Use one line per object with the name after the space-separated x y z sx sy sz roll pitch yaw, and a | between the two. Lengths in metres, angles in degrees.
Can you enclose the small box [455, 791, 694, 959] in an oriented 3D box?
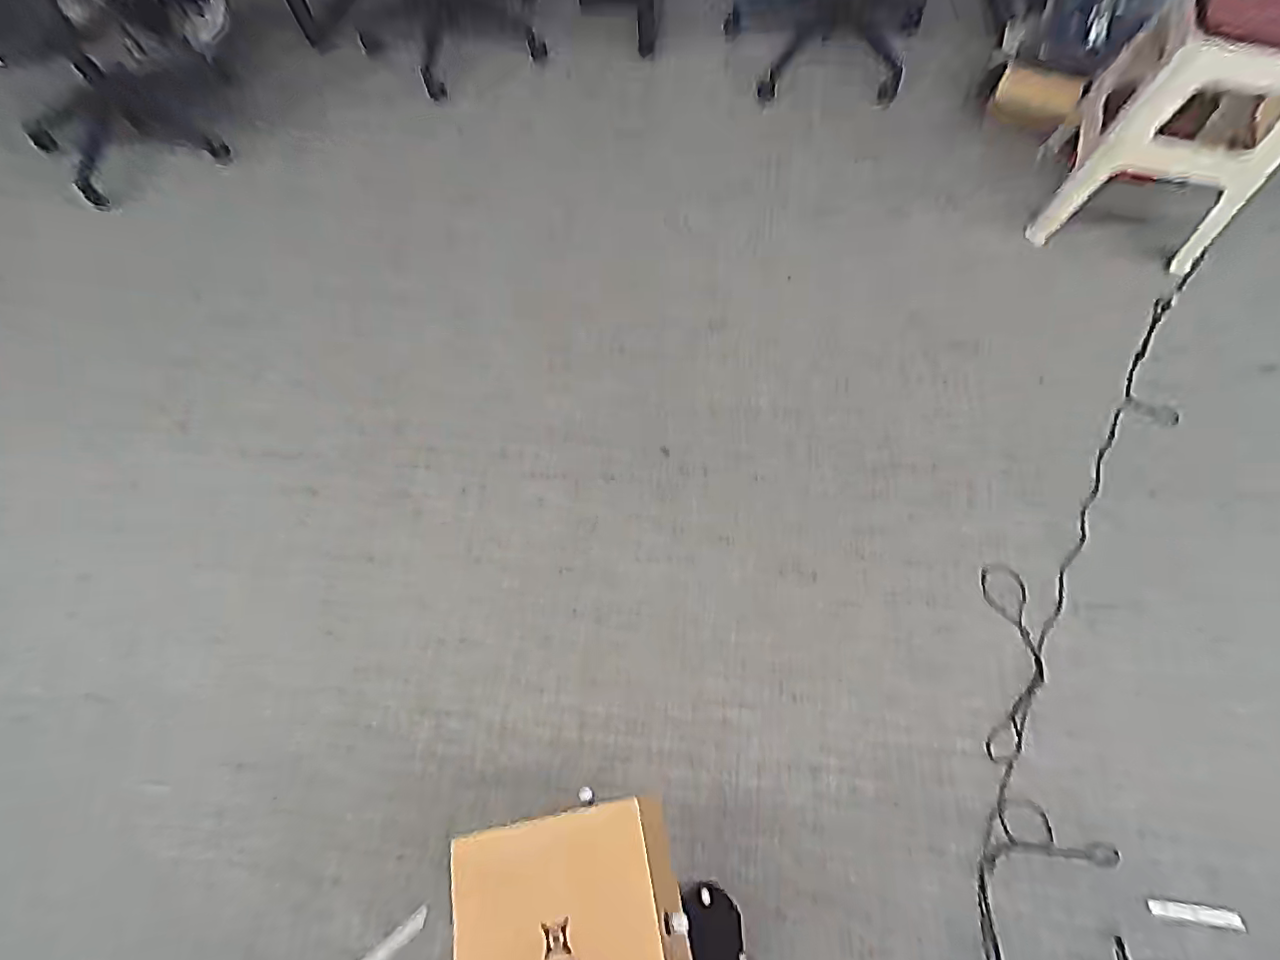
-0.048 0.388 0.473 0.168 0.176 0.179 -14 60 1 | small box
